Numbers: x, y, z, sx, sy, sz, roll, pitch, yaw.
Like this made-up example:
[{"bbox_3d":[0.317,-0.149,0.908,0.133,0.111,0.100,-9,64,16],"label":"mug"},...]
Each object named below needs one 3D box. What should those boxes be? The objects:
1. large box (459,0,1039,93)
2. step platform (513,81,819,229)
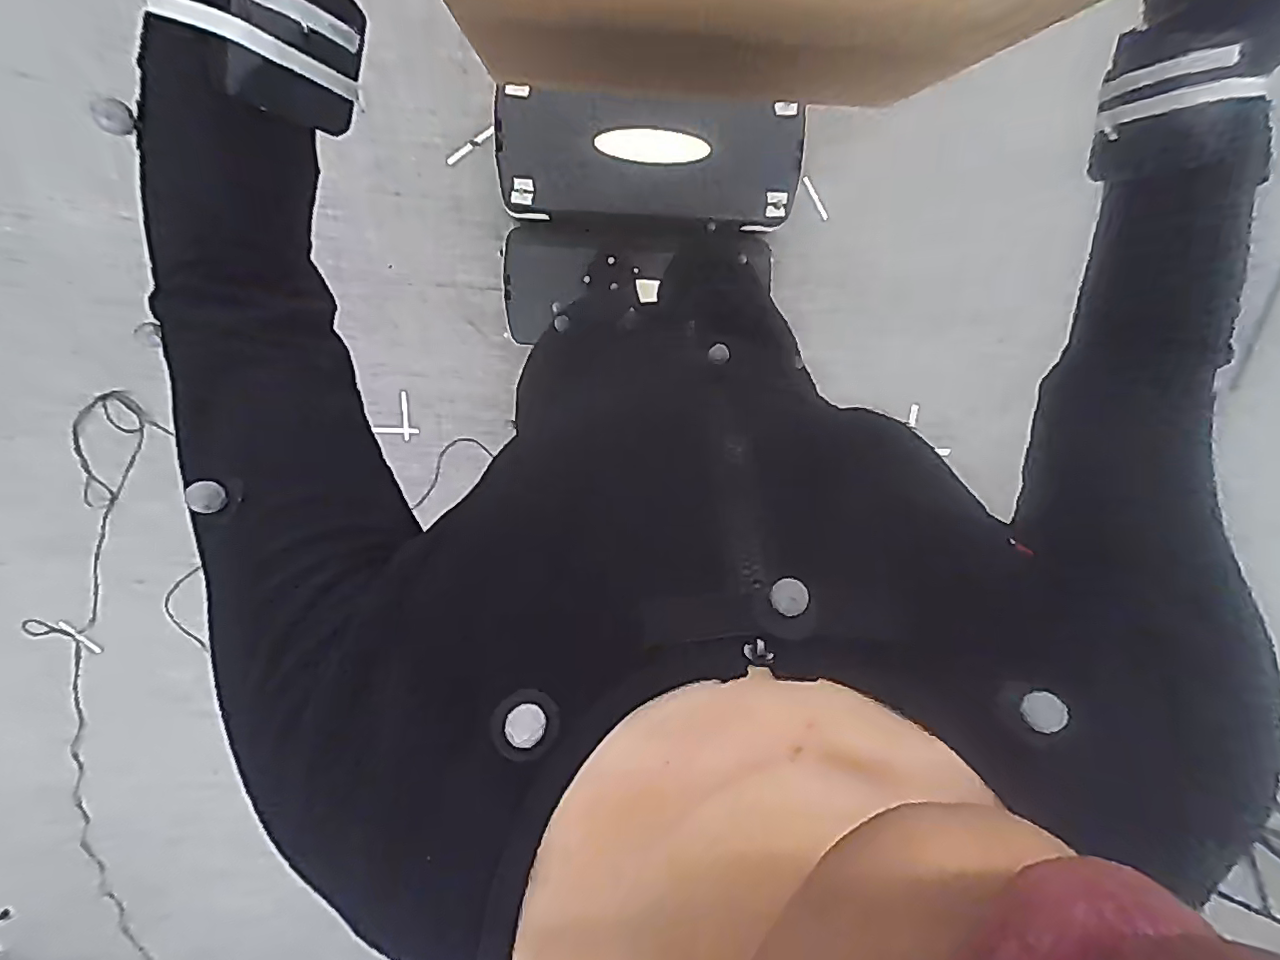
[{"bbox_3d":[0.070,-0.479,0.350,0.408,0.320,0.320,0,113,-5],"label":"large box"},{"bbox_3d":[0.055,-0.755,1.247,0.684,0.204,0.286,0,110,-5],"label":"step platform"}]
